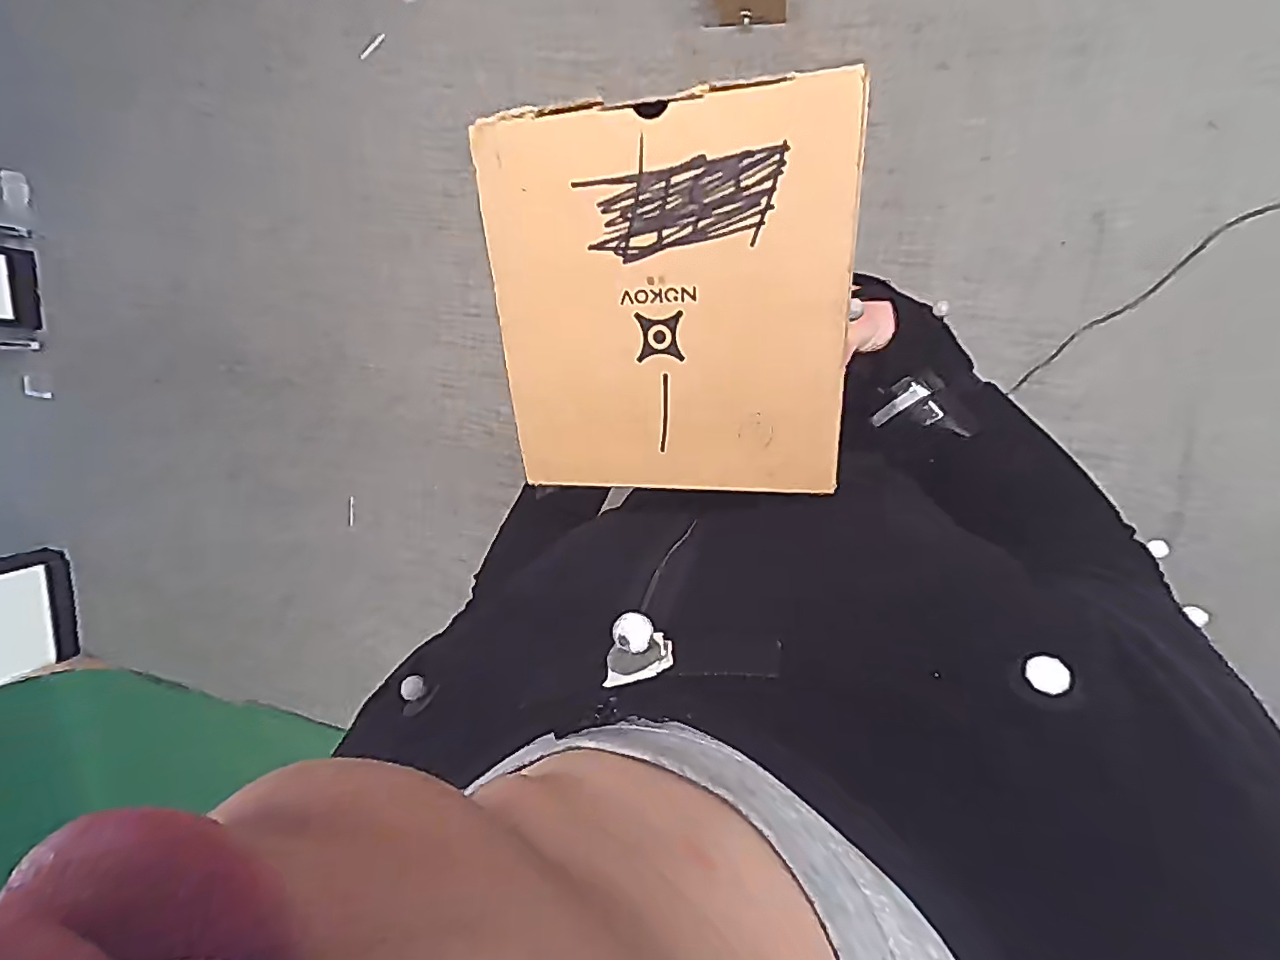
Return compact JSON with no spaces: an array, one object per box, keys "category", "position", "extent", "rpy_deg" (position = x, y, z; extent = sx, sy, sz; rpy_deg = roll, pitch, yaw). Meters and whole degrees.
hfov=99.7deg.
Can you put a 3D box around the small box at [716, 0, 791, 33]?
[{"category":"small box","position":[0.262,-1.169,1.228],"extent":[0.168,0.176,0.179],"rpy_deg":[7,103,15]}]

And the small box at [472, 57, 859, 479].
[{"category":"small box","position":[0.027,-0.113,0.325],"extent":[0.168,0.176,0.179],"rpy_deg":[1,114,14]}]
